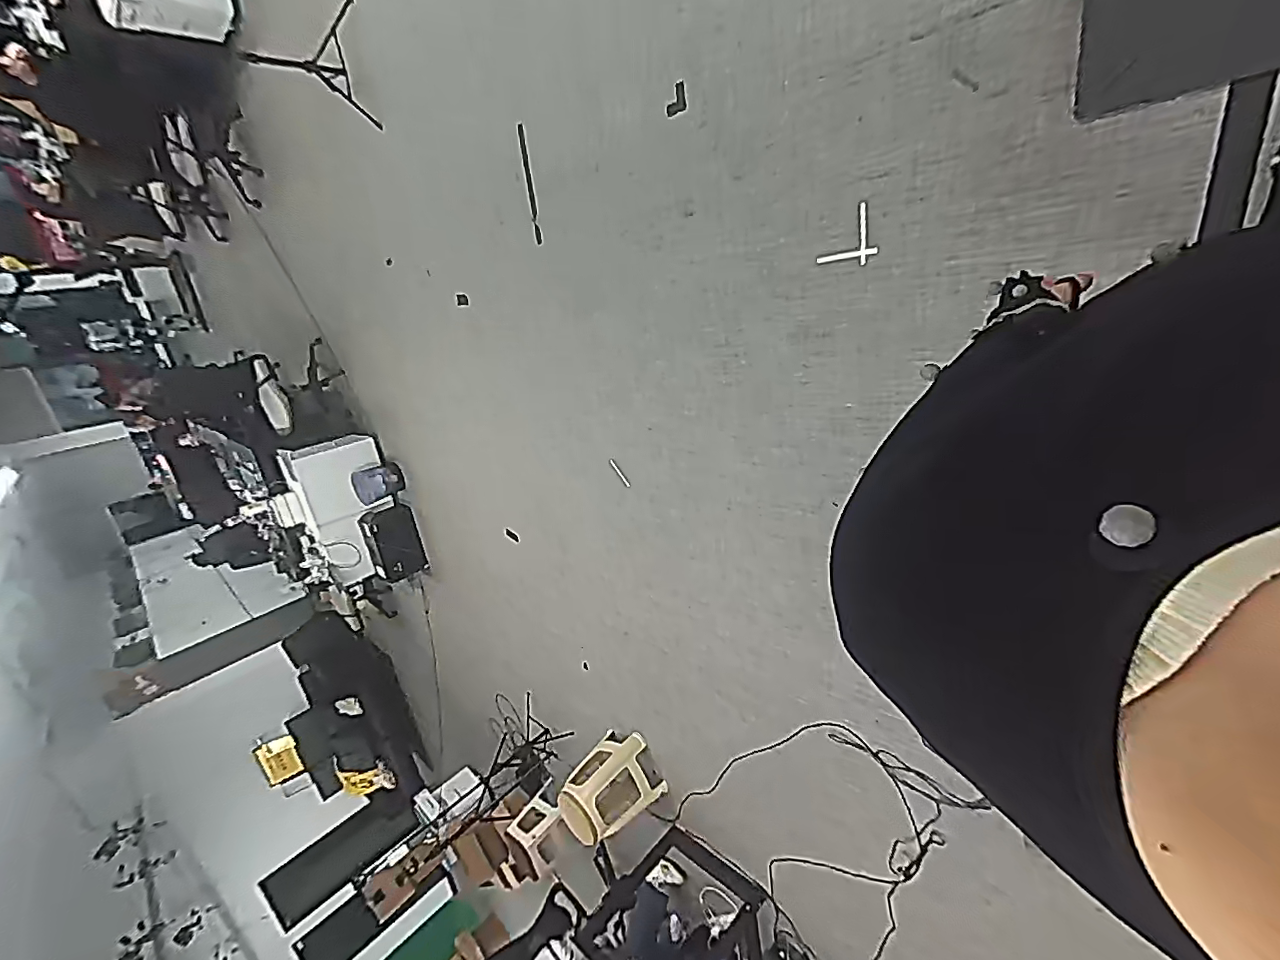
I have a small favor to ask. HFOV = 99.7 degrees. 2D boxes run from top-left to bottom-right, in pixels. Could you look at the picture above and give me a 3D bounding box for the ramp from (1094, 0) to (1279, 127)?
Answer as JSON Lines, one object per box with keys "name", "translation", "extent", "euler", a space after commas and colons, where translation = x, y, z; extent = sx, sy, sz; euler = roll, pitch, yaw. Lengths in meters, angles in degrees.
{"name": "ramp", "translation": [0.853, -1.027, 0.587], "extent": [0.509, 0.206, 0.991], "euler": [8, 115, 44]}
